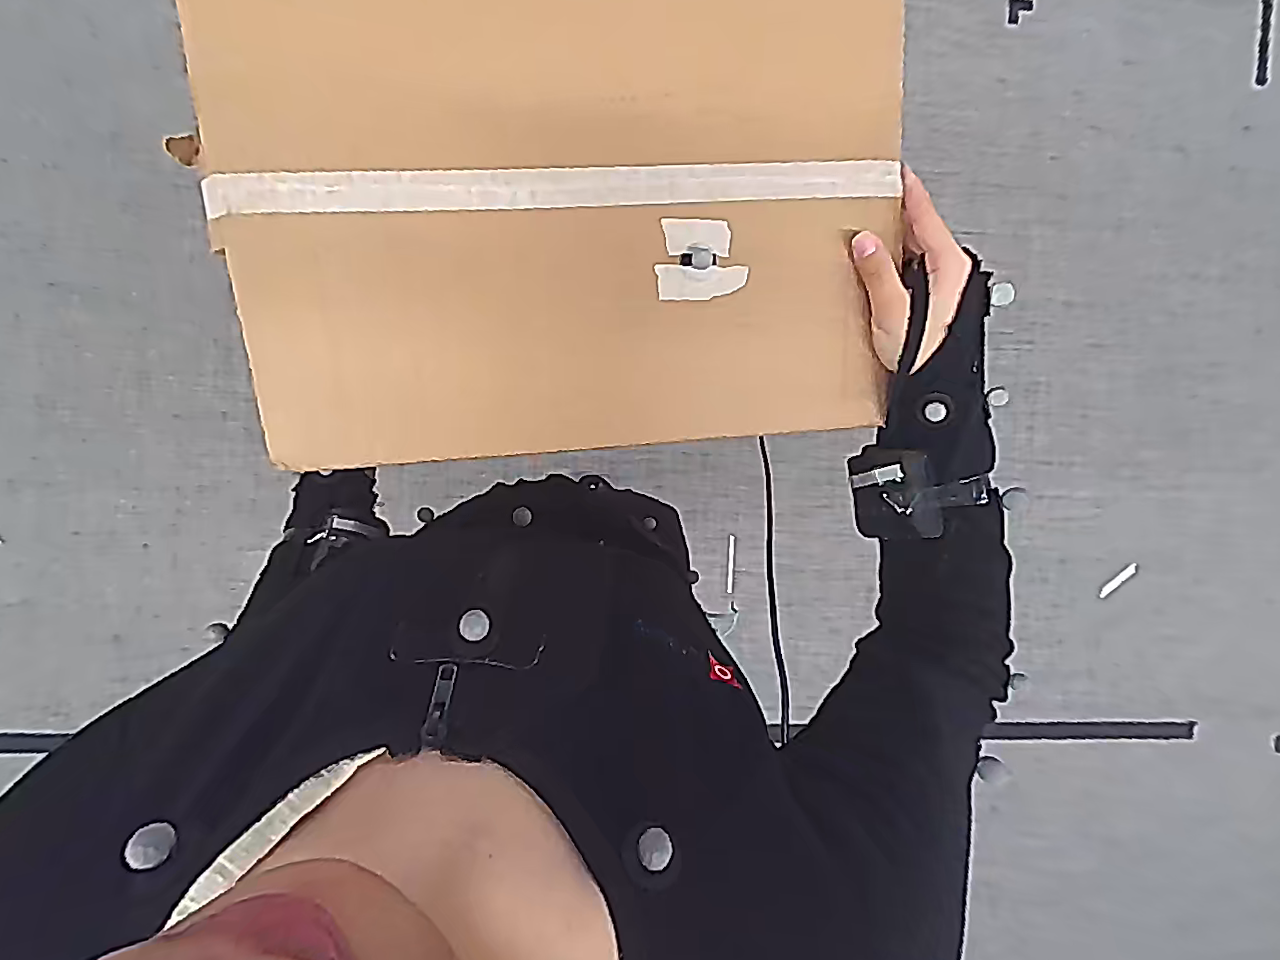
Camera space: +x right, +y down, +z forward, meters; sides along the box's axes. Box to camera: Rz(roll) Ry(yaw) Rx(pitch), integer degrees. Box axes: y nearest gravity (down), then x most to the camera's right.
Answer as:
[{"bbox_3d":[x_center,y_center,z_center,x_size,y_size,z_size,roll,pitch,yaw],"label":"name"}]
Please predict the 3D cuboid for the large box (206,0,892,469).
[{"bbox_3d":[-0.054,-0.203,0.479,0.408,0.320,0.320,-6,102,-8],"label":"large box"}]
